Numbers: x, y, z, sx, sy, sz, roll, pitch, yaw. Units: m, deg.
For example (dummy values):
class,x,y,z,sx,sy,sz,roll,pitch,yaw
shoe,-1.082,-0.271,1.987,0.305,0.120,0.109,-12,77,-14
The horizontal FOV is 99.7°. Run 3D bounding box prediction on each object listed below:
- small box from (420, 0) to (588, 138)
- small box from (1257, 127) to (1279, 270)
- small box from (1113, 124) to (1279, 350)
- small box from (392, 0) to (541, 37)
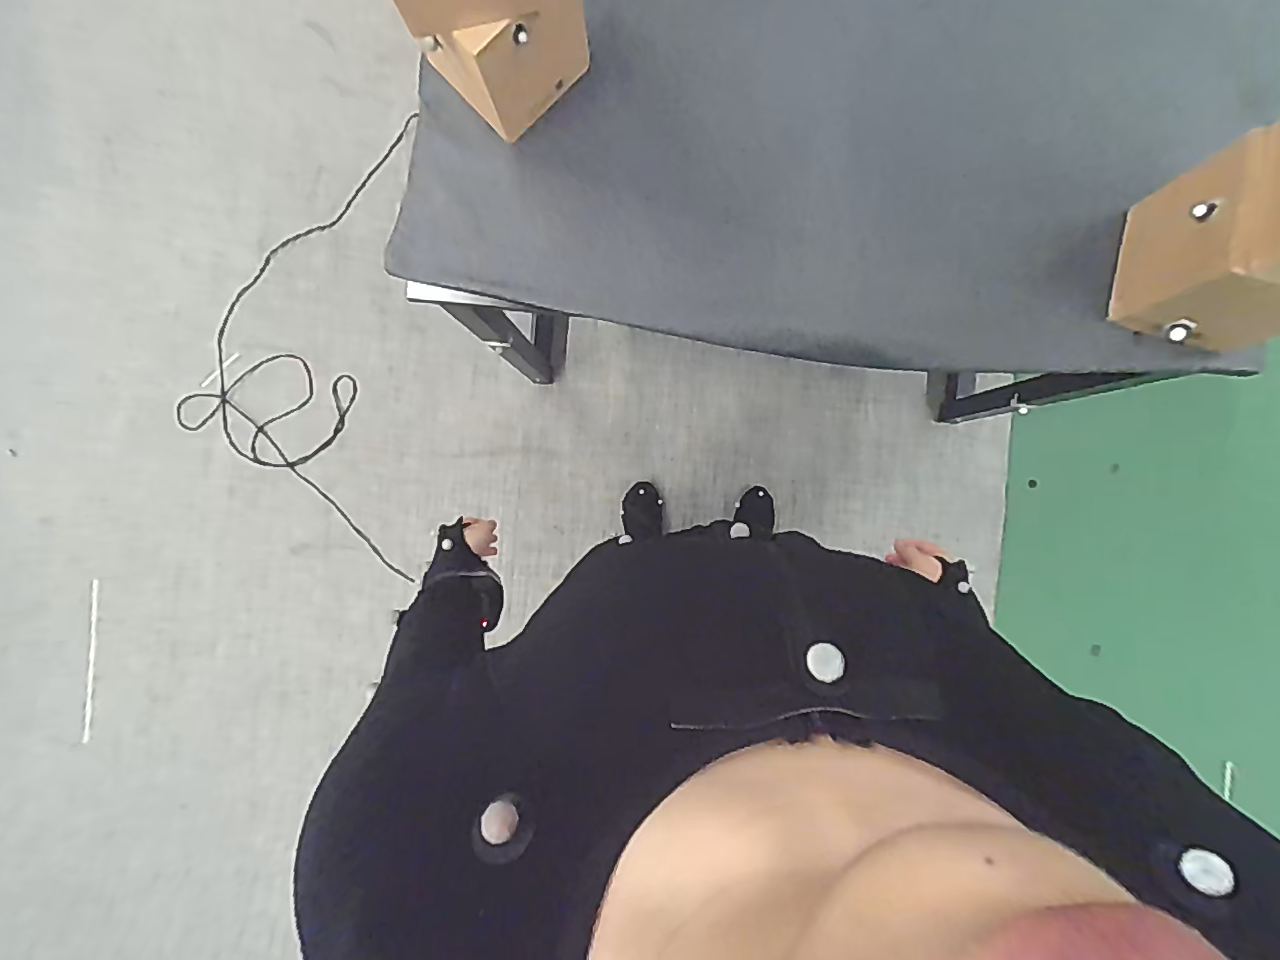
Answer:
class,x,y,z,sx,sy,sz,roll,pitch,yaw
small box,-0.189,-0.600,0.701,0.168,0.176,0.179,-44,89,1
small box,0.747,-0.293,0.501,0.168,0.176,0.179,12,85,3
small box,0.739,-0.283,0.663,0.168,0.176,0.179,14,87,4
small box,-0.194,-0.597,0.536,0.179,0.176,0.168,-13,90,2
